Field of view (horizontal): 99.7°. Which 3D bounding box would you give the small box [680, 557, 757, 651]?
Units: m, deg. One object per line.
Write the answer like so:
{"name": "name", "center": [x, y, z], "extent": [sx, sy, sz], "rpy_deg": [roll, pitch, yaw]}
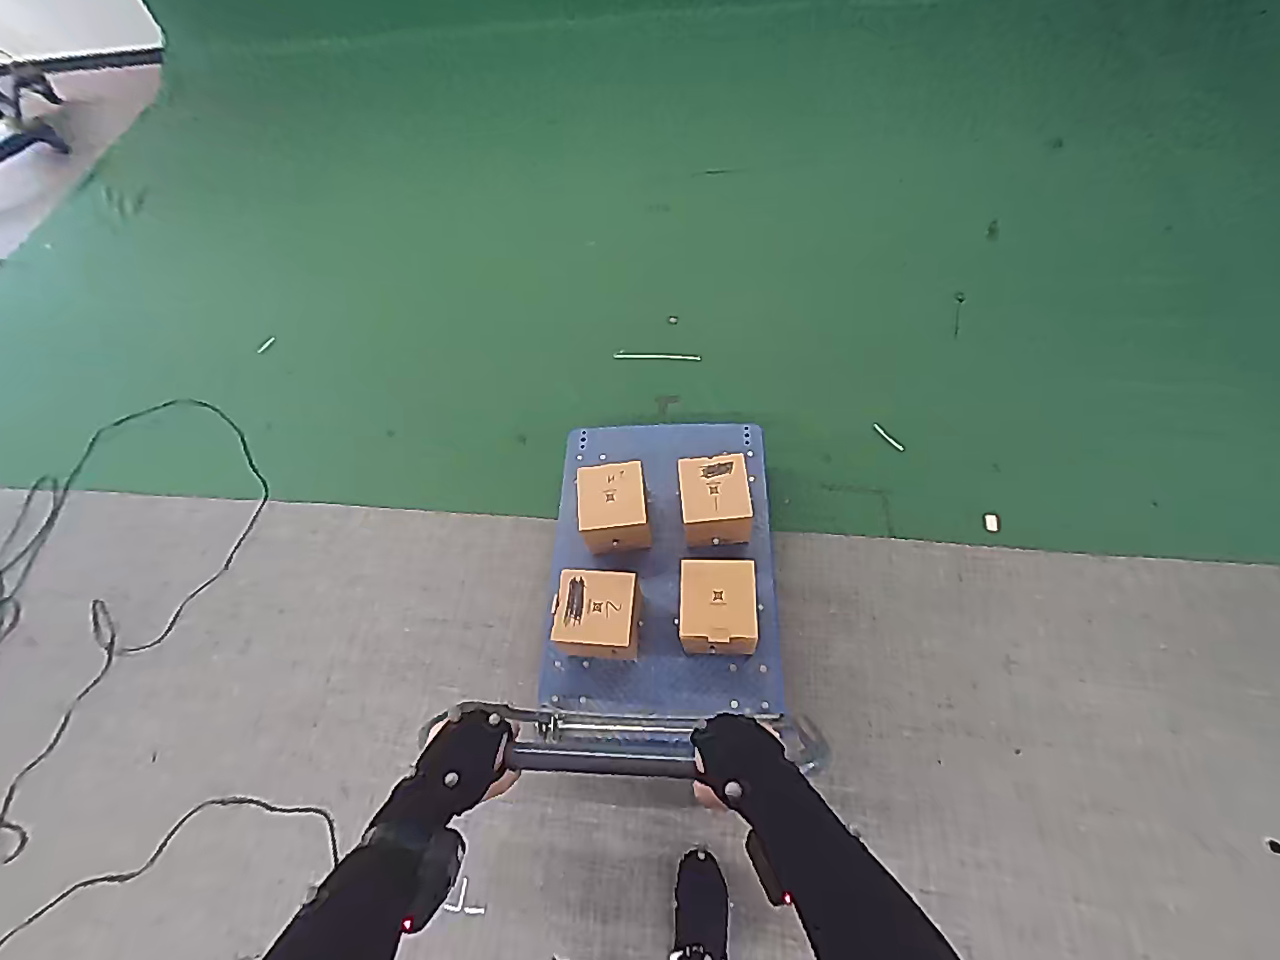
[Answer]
{"name": "small box", "center": [0.179, 0.291, 1.256], "extent": [0.168, 0.176, 0.179], "rpy_deg": [0, 64, 7]}

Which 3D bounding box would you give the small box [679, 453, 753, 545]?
{"name": "small box", "center": [0.188, 0.051, 1.377], "extent": [0.168, 0.176, 0.179], "rpy_deg": [-5, 63, 5]}

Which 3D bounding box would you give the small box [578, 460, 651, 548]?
{"name": "small box", "center": [-0.064, 0.070, 1.399], "extent": [0.168, 0.176, 0.179], "rpy_deg": [-6, 62, 3]}
